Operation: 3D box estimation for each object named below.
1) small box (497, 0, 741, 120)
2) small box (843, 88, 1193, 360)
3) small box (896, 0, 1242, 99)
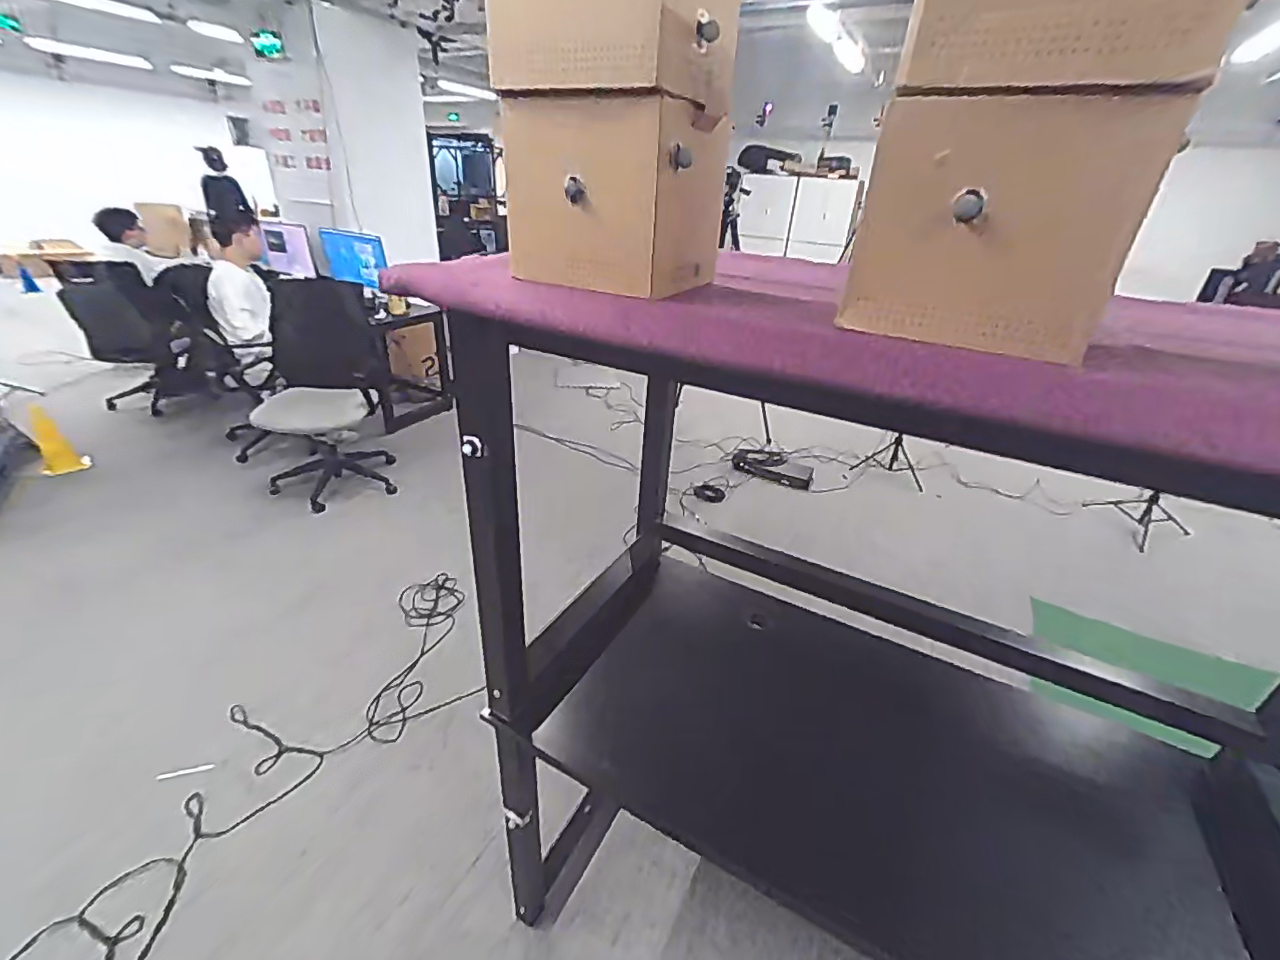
[{"bbox_3d":[-0.017,-0.438,0.489,0.179,0.176,0.168,18,32,23],"label":"small box"},{"bbox_3d":[0.285,-0.205,0.449,0.179,0.176,0.168,18,32,25],"label":"small box"},{"bbox_3d":[0.296,-0.346,0.366,0.179,0.176,0.168,21,33,27],"label":"small box"}]
